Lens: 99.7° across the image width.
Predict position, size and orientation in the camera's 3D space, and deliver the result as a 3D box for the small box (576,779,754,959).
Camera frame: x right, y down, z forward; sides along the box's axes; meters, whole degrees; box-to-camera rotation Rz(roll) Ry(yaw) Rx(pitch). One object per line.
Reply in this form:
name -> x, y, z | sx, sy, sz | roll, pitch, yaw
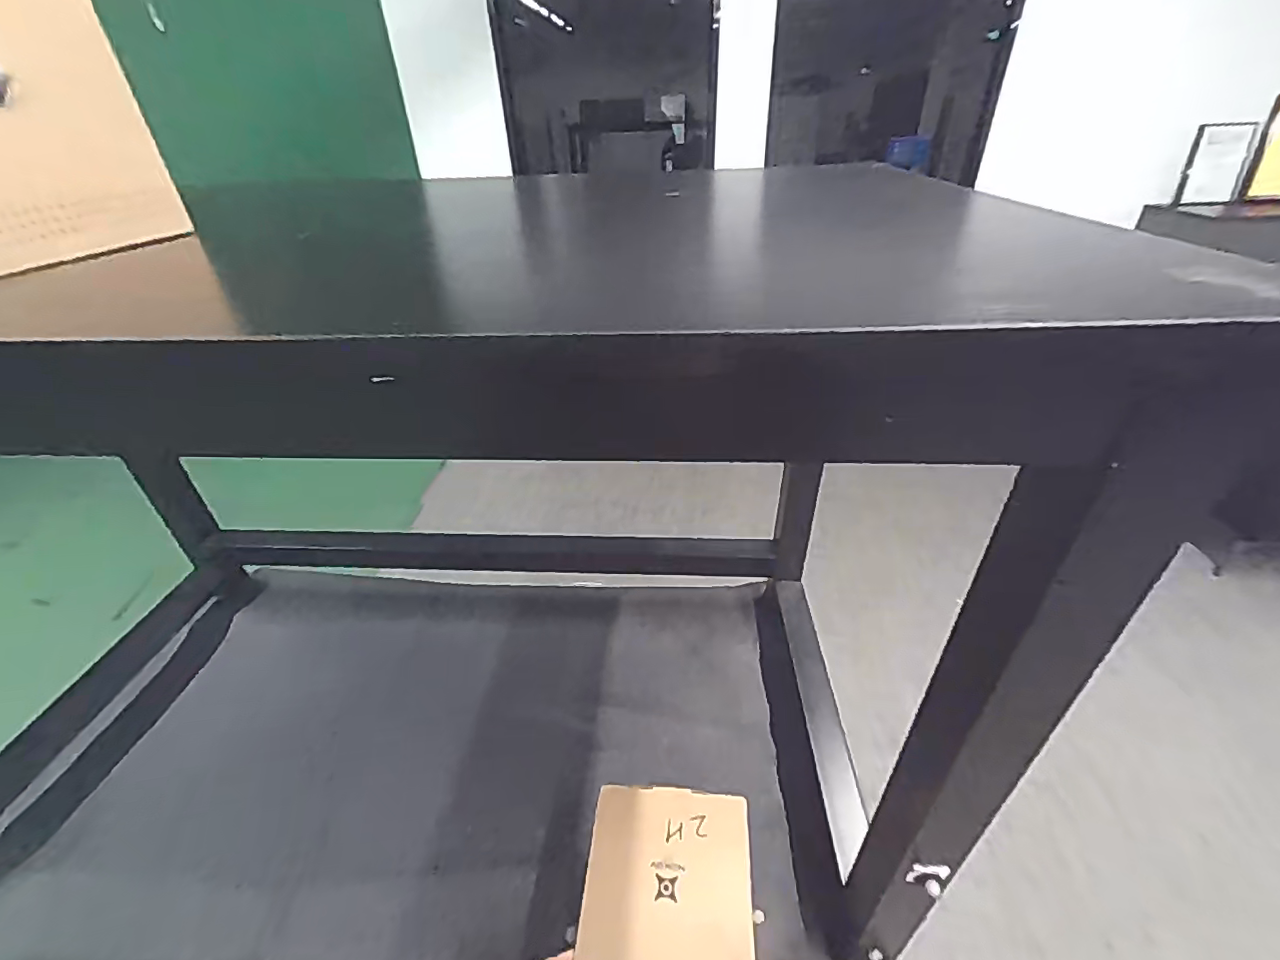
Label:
small box -> 0.033, 0.463, 0.591 | 0.168, 0.176, 0.179 | 2, 35, 6
